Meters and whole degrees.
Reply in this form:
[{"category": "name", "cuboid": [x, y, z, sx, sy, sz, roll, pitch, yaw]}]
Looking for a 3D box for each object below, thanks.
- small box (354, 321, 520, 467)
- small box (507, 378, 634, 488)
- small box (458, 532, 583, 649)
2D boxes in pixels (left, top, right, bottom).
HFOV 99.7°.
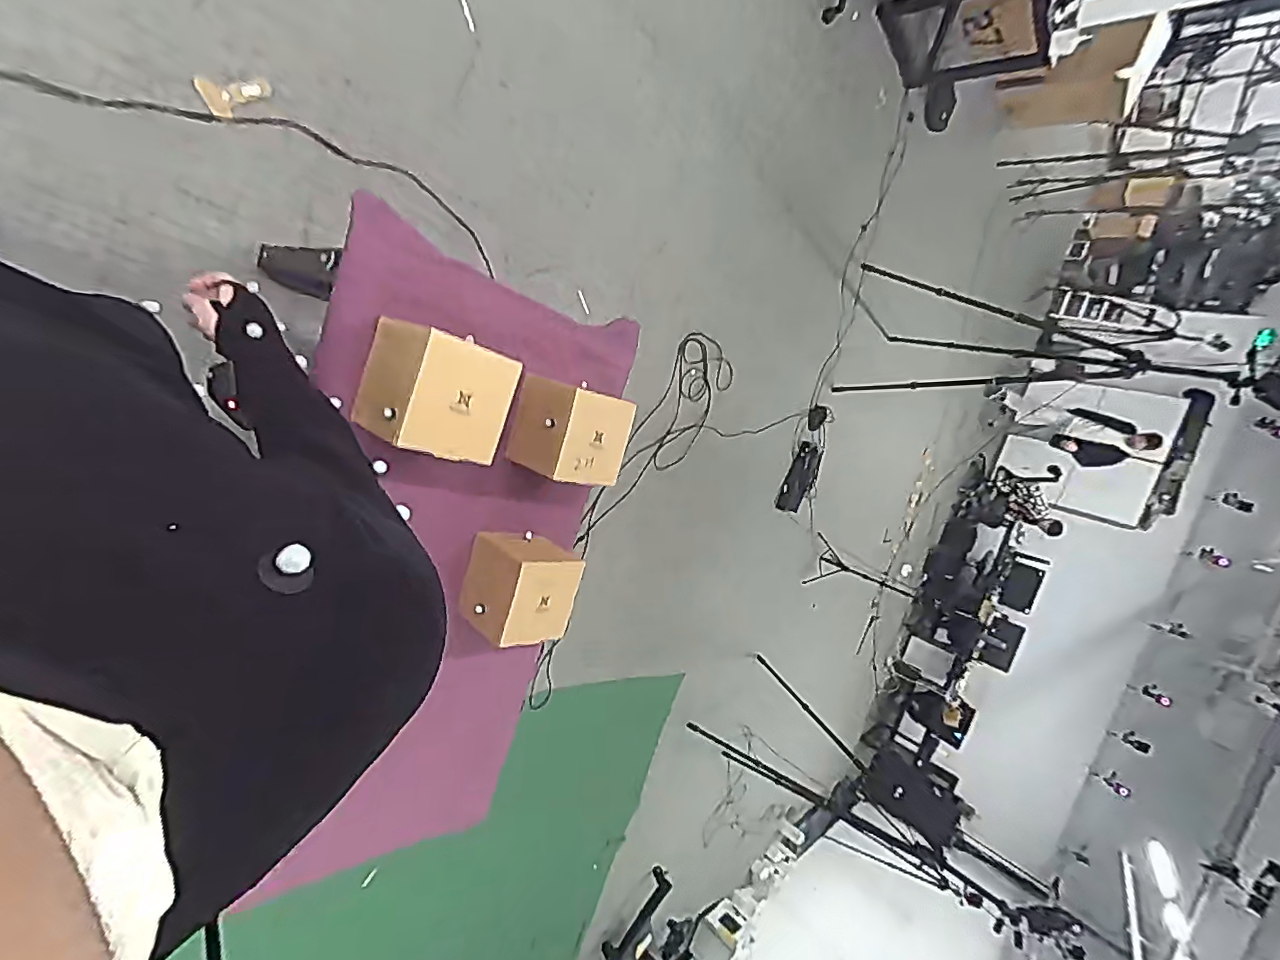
[{"category": "small box", "cuboid": [-0.327, -0.139, 0.864, 0.168, 0.176, 0.179, 13, 98, -51]}, {"category": "small box", "cuboid": [-0.144, -0.096, 1.086, 0.168, 0.176, 0.179, 8, 101, -49]}, {"category": "small box", "cuboid": [-0.251, 0.223, 1.117, 0.168, 0.176, 0.179, 11, 98, -50]}]
